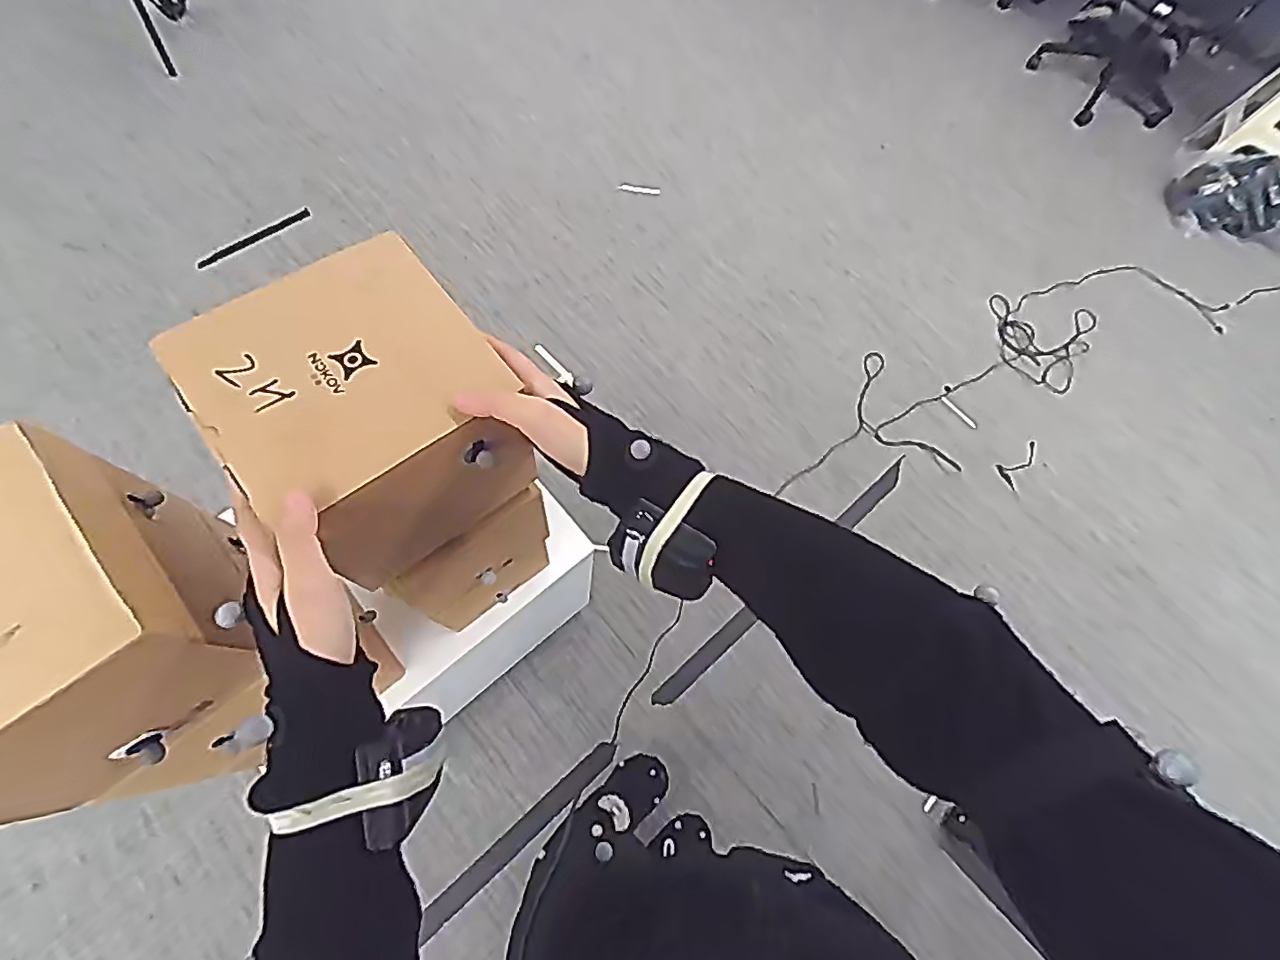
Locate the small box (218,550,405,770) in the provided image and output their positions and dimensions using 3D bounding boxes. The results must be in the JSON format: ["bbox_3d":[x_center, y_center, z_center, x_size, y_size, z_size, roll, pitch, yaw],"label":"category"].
[{"bbox_3d":[-0.426,0.220,0.665,0.168,0.176,0.179,-38,76,-17],"label":"small box"}]

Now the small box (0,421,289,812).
[{"bbox_3d":[-0.392,0.100,0.365,0.168,0.176,0.179,-40,78,-18],"label":"small box"}]

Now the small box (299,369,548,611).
[{"bbox_3d":[-0.217,0.021,0.588,0.168,0.176,0.179,-36,78,-17],"label":"small box"}]

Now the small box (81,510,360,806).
[{"bbox_3d":[-0.408,0.161,0.515,0.168,0.176,0.179,-39,77,-18],"label":"small box"}]
